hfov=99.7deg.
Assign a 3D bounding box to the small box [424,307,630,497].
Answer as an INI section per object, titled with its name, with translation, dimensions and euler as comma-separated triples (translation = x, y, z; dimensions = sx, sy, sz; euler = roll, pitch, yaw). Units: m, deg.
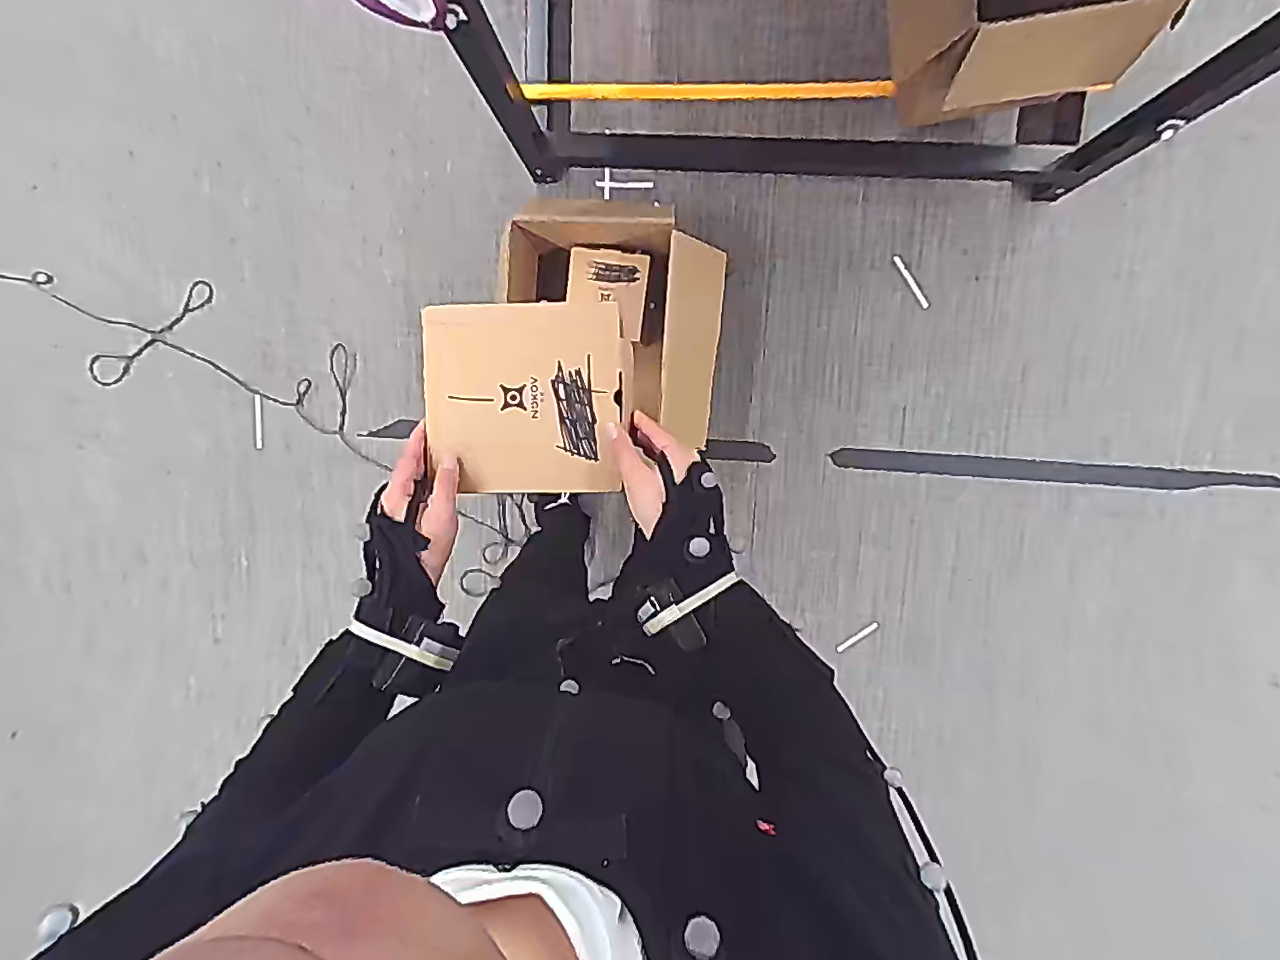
[small box]
translation = -0.099, -0.073, 0.548
dimensions = 0.179, 0.176, 0.168
euler = 0, 94, 1
